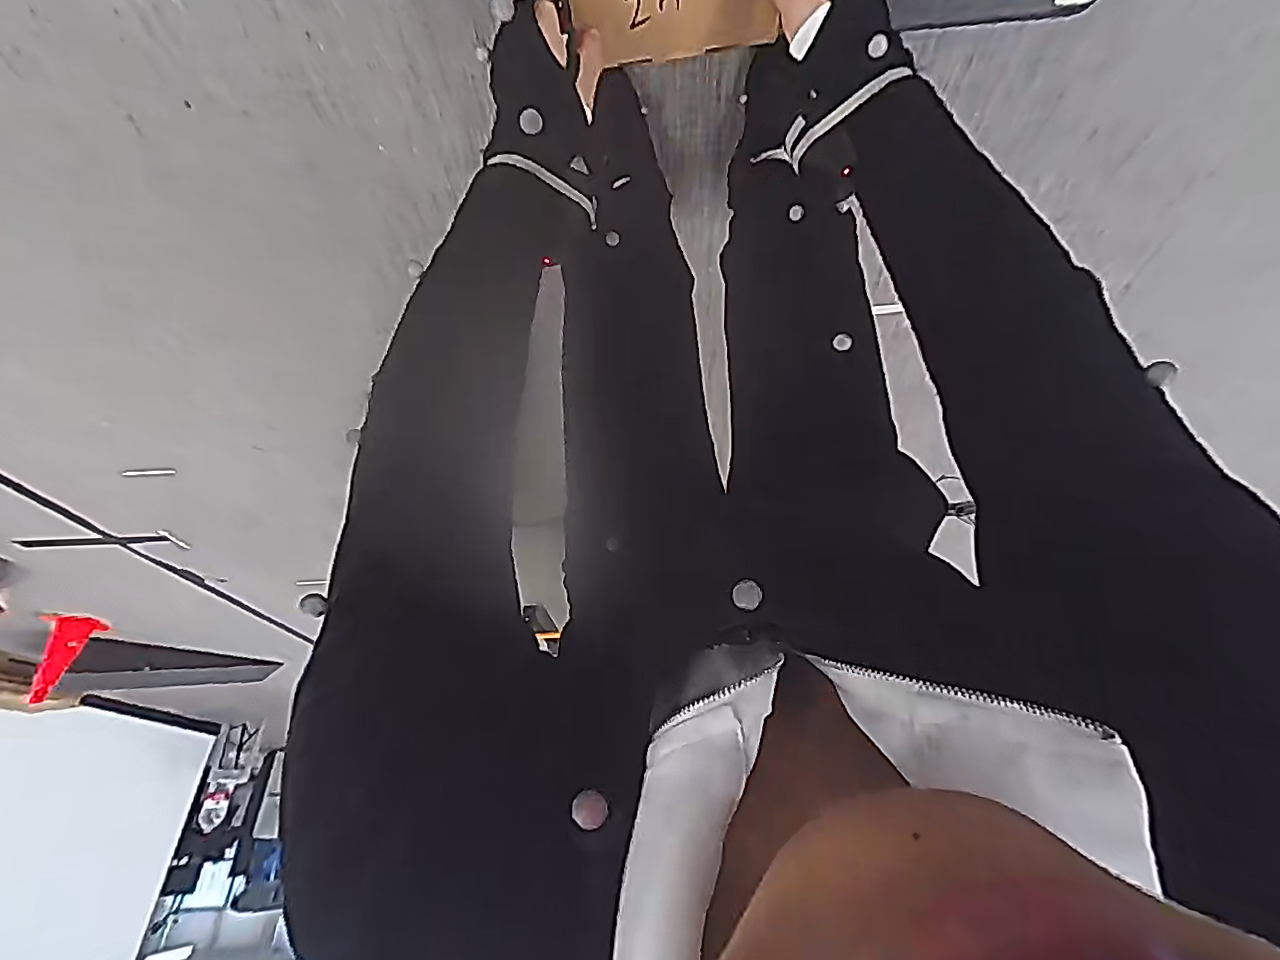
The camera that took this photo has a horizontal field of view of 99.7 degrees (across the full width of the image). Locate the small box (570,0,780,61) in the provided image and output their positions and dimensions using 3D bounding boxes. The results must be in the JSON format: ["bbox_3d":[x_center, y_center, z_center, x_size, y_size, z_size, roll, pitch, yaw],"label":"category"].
[{"bbox_3d":[0.017,-0.469,0.412,0.168,0.176,0.179,-6,151,4],"label":"small box"}]
